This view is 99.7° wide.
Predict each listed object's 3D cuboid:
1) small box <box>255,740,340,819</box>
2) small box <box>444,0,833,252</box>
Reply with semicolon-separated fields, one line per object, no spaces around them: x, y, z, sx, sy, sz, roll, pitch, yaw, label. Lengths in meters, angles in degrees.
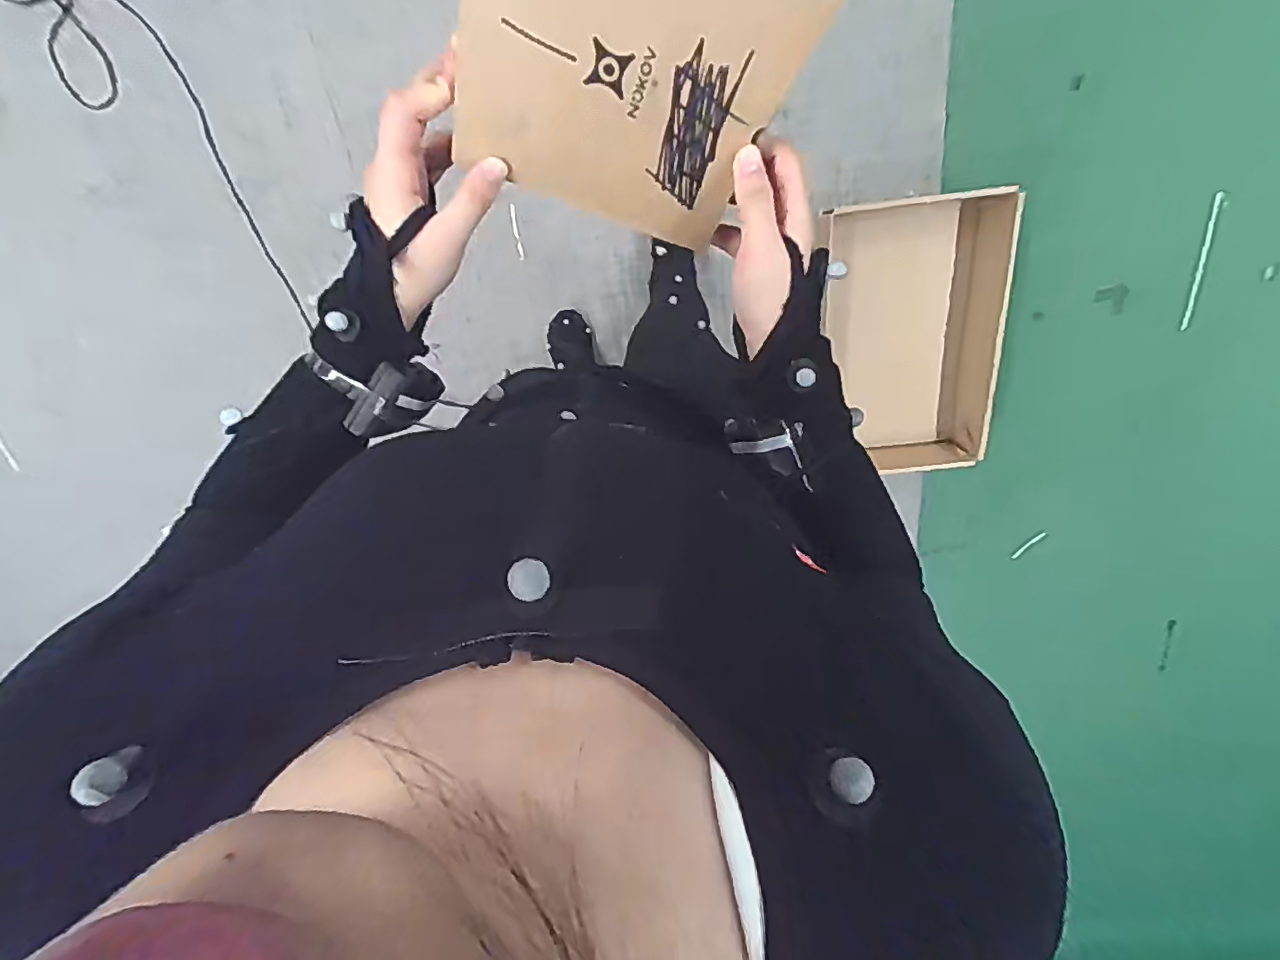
-1.196;1.052;1.905;0.168;0.176;0.179;-8;113;1;small box
-0.015;-0.282;0.333;0.179;0.176;0.168;9;150;-18;small box
